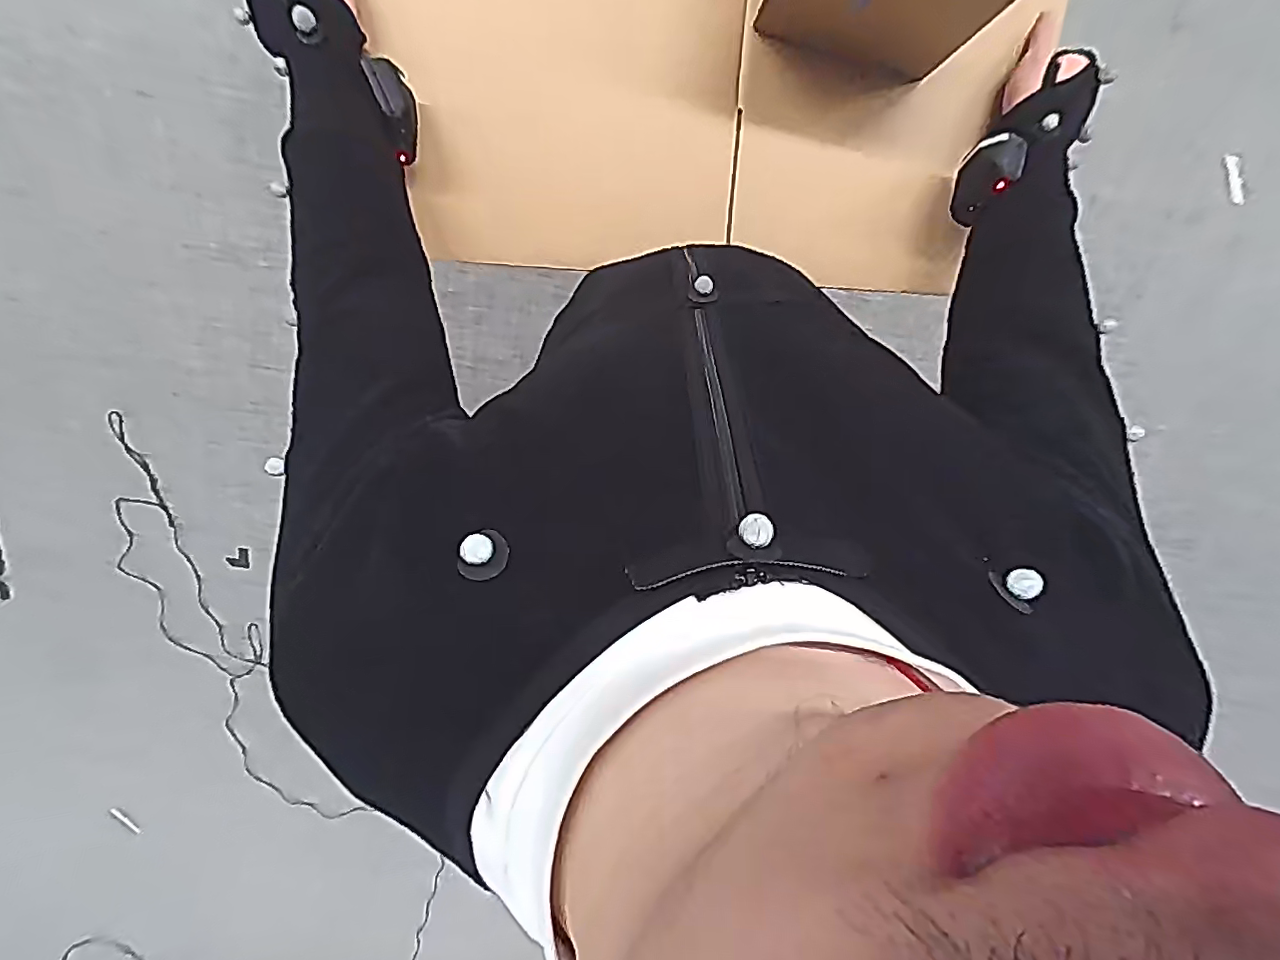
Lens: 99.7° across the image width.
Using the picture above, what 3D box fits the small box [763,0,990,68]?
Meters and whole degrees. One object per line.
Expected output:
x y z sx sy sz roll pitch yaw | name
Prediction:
0.211 -0.465 0.421 0.179 0.176 0.168 13 106 -4 | small box
